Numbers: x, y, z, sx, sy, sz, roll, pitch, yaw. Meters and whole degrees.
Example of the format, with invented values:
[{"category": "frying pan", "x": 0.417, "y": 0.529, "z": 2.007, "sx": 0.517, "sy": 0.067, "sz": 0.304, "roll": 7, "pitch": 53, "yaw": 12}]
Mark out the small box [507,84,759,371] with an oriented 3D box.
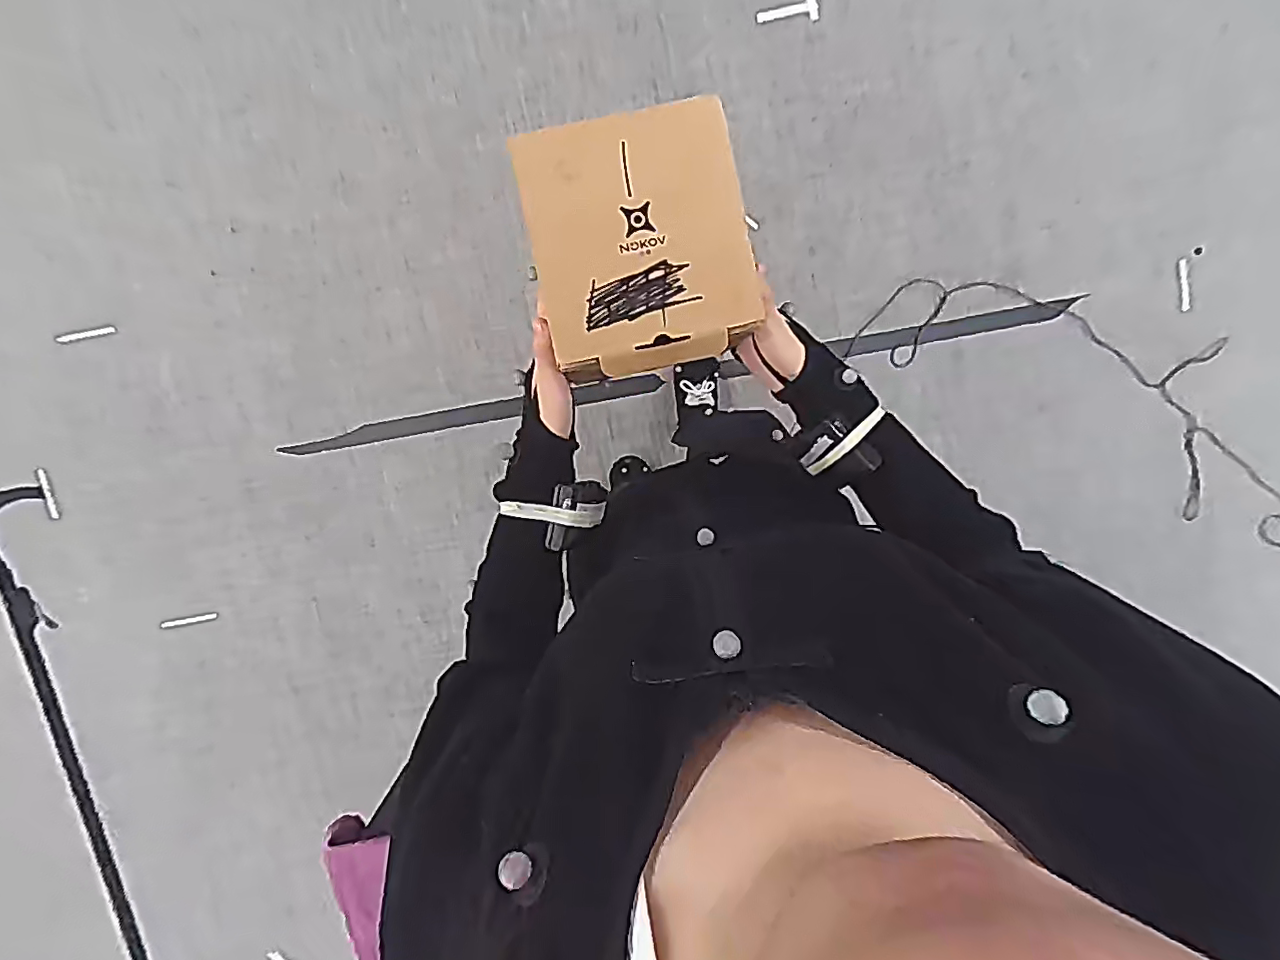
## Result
[{"category": "small box", "x": -0.005, "y": -0.202, "z": 0.488, "sx": 0.168, "sy": 0.176, "sz": 0.179, "roll": -12, "pitch": 95, "yaw": -1}]
